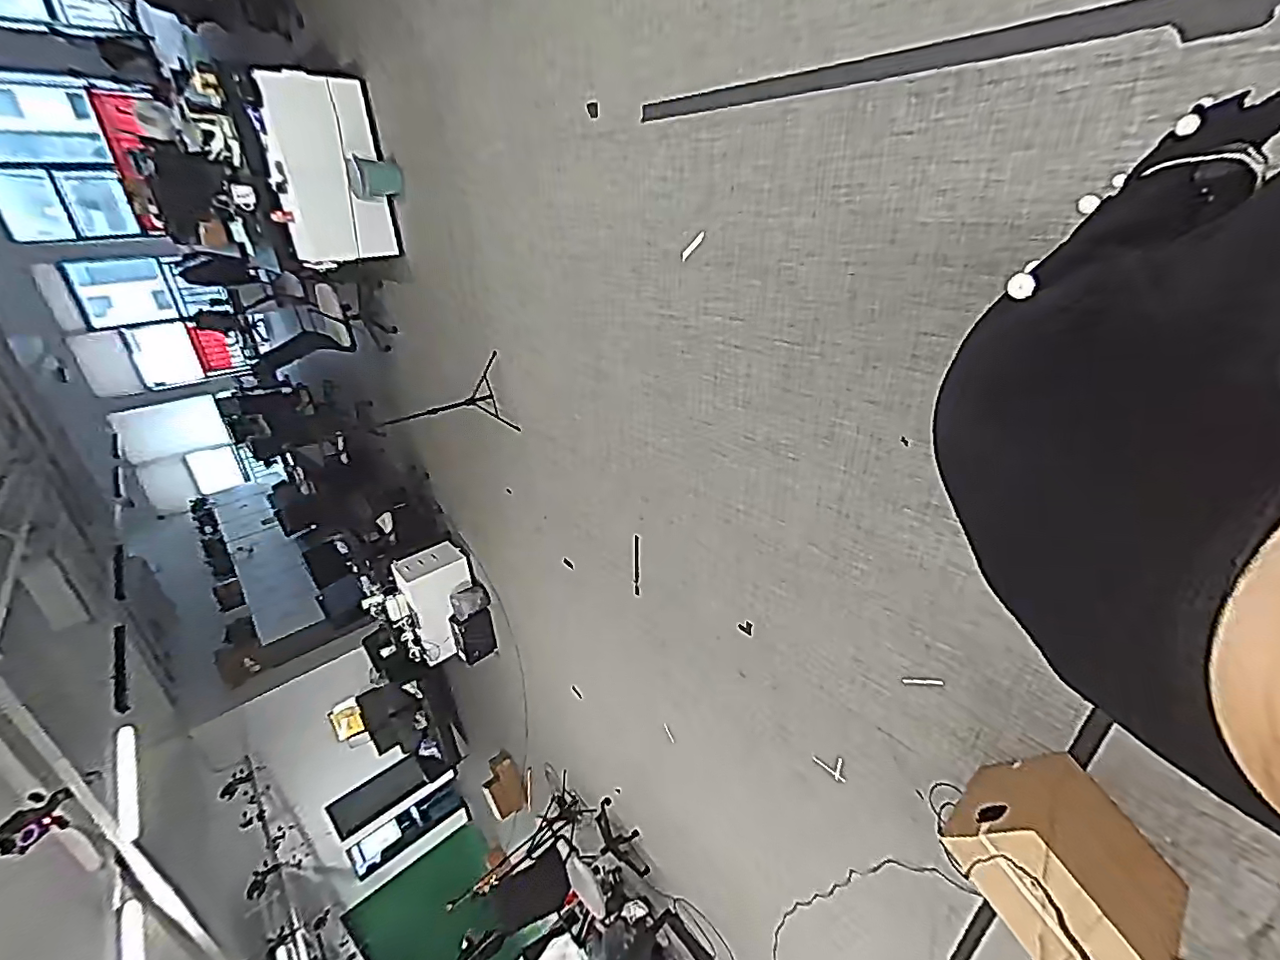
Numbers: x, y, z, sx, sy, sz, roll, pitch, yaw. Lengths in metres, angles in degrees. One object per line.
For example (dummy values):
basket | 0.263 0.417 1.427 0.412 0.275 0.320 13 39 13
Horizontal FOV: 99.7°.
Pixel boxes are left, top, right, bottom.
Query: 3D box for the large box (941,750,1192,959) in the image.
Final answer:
large box | 1.147 1.030 1.475 0.408 0.320 0.320 53 142 18
